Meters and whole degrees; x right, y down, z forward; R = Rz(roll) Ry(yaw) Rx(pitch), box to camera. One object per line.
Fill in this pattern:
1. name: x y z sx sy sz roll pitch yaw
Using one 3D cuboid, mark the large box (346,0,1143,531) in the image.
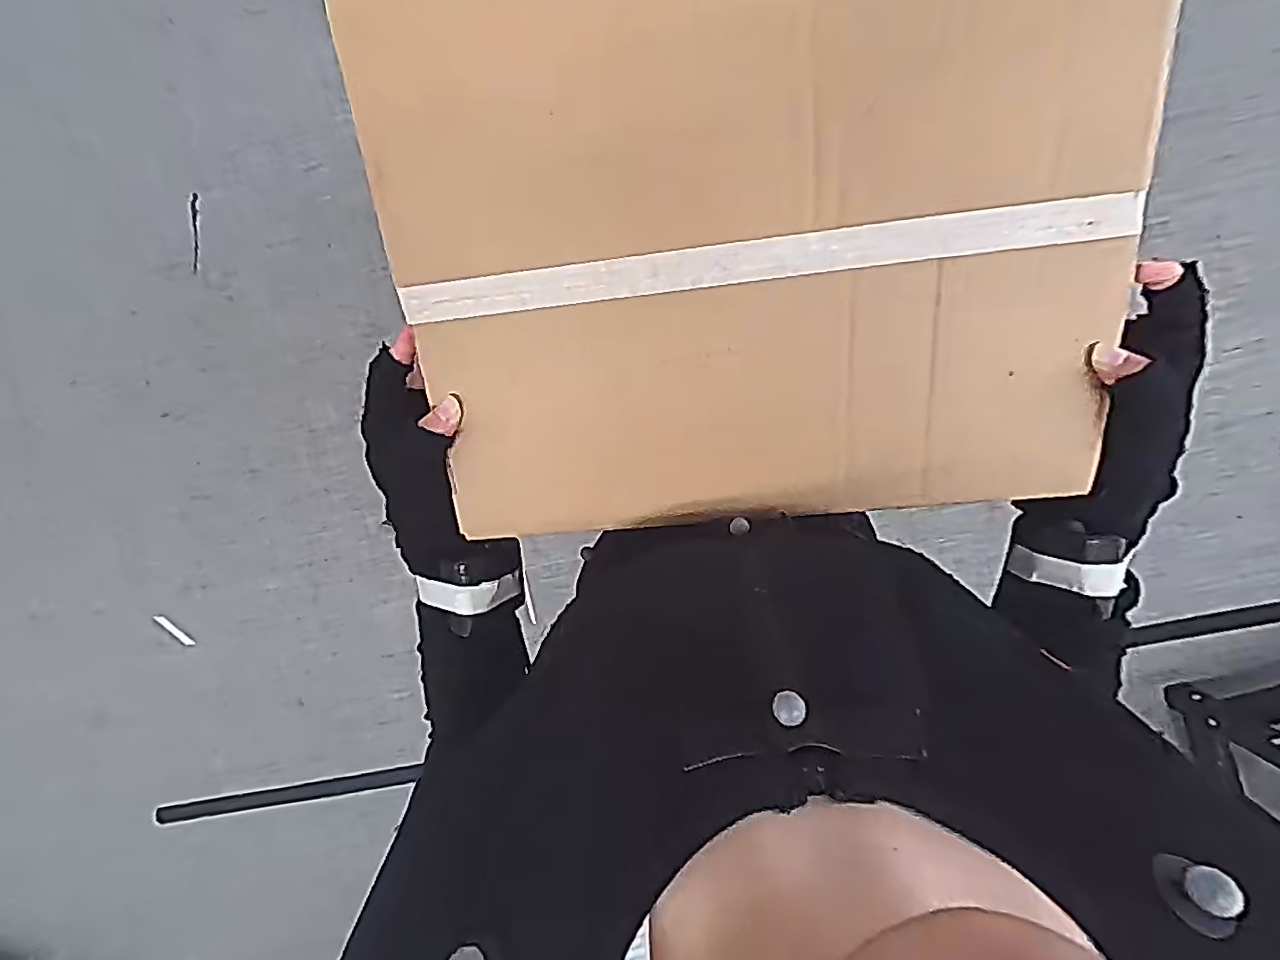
1. large box: 0.065 -0.176 0.452 0.408 0.320 0.320 -5 111 6
